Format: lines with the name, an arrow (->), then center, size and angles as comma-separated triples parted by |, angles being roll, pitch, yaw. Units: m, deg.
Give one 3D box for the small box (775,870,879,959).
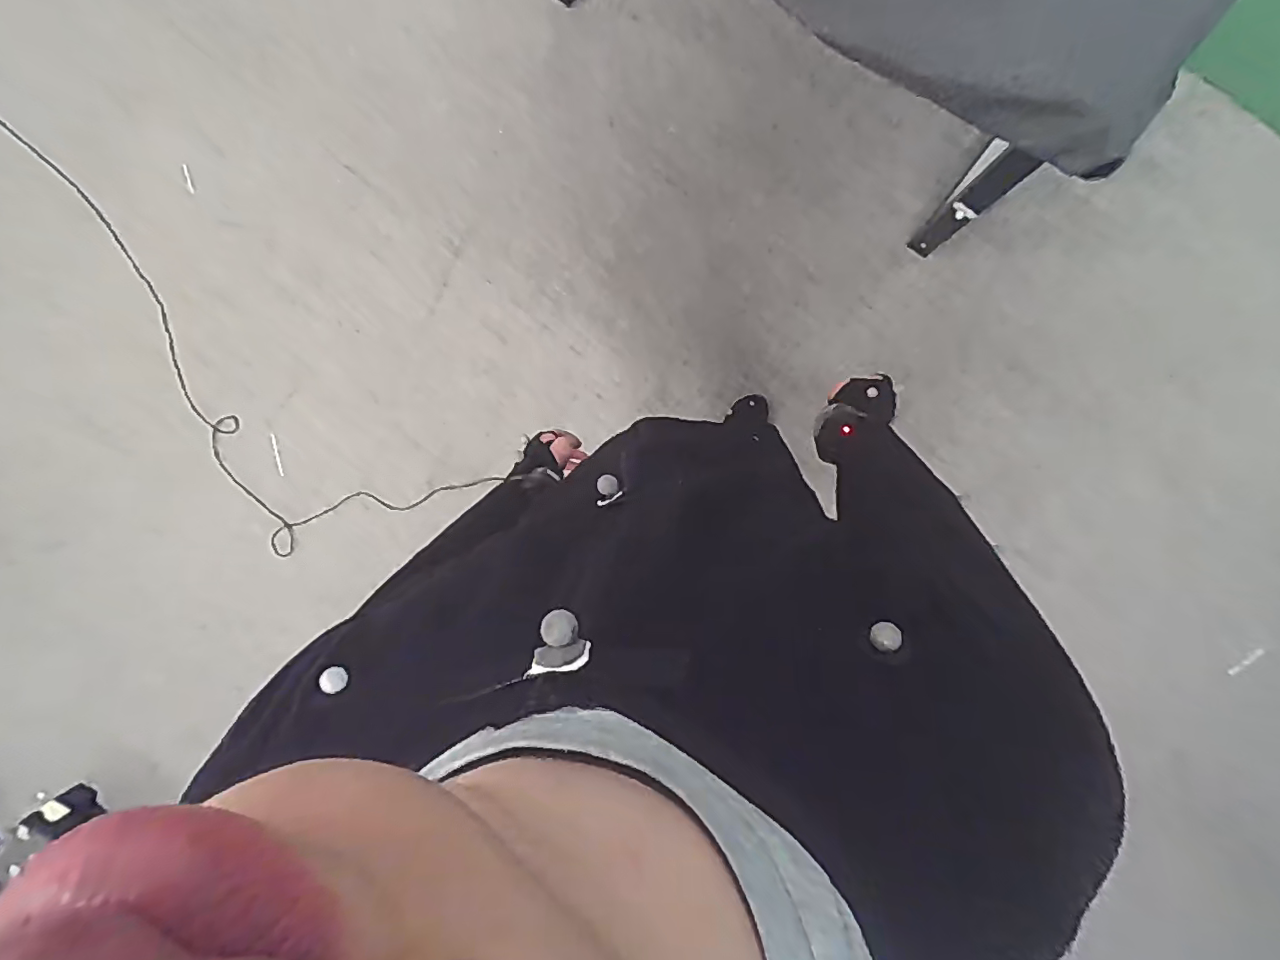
small box -> 0.431, 1.076, 1.261 | 0.168, 0.176, 0.179 | 33, 100, 4
